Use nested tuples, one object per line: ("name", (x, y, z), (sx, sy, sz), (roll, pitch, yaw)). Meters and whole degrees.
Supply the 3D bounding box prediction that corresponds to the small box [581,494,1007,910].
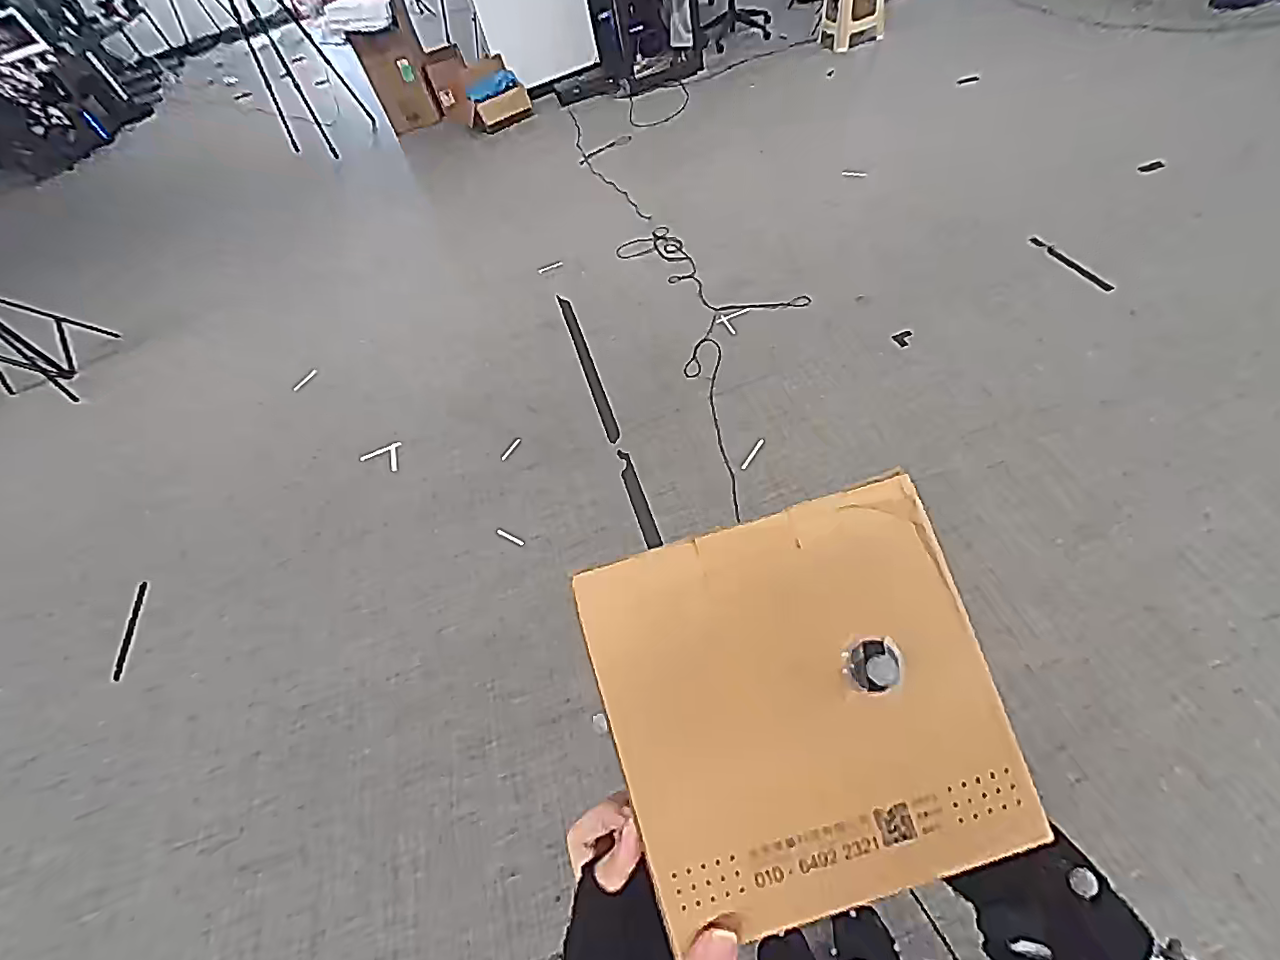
("small box", (0.076, 0.120, 0.334), (0.168, 0.179, 0.176), (-17, 82, 0))
